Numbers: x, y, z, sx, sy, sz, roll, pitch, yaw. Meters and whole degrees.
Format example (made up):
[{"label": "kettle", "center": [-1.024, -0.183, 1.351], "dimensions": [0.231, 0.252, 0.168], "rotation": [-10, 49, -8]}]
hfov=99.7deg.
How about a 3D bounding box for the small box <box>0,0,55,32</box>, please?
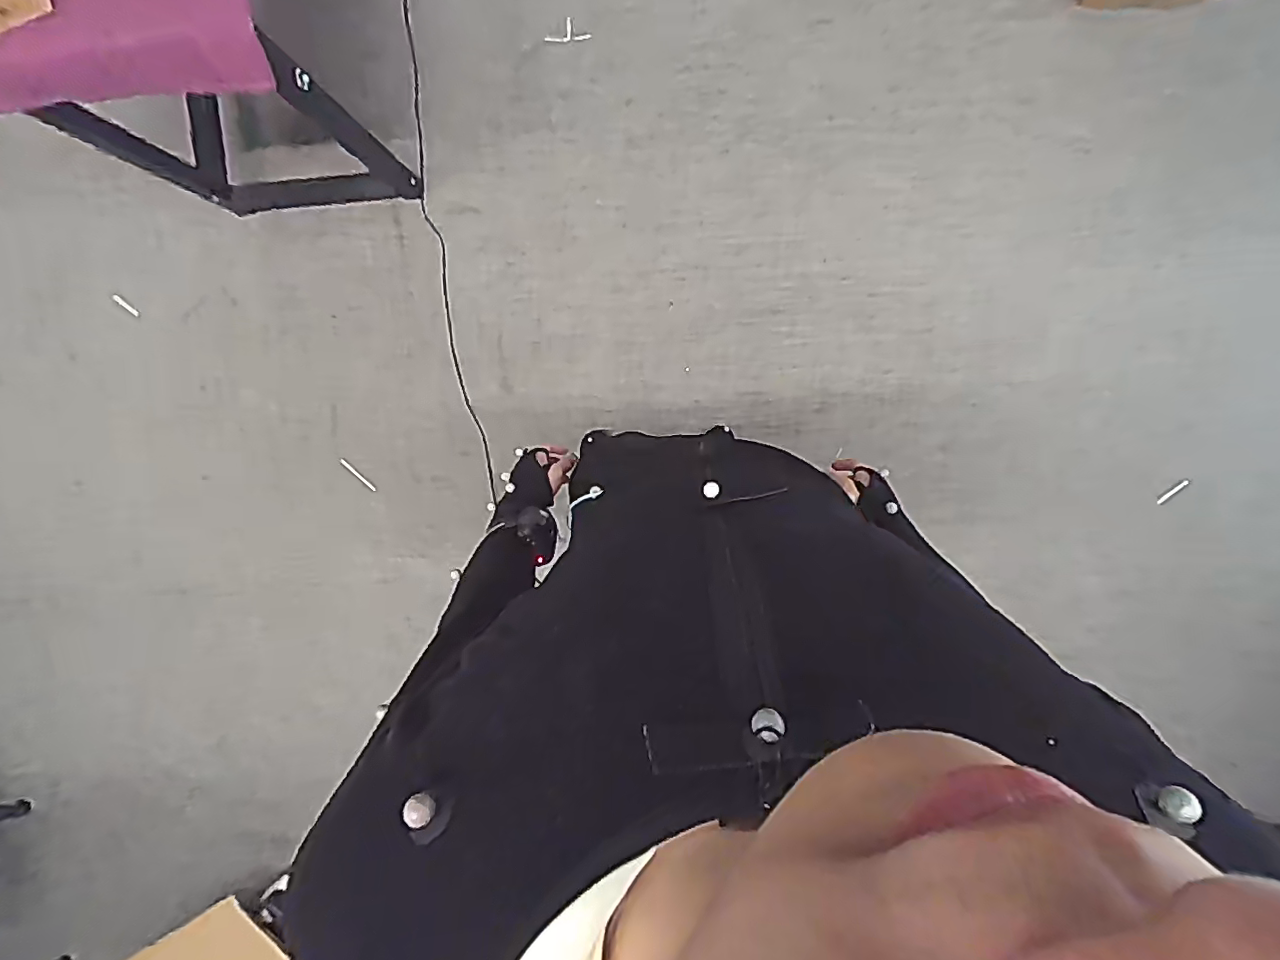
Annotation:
[{"label": "small box", "center": [-1.041, -0.807, 0.795], "dimensions": [0.168, 0.176, 0.179], "rotation": [-16, 95, 4]}]
